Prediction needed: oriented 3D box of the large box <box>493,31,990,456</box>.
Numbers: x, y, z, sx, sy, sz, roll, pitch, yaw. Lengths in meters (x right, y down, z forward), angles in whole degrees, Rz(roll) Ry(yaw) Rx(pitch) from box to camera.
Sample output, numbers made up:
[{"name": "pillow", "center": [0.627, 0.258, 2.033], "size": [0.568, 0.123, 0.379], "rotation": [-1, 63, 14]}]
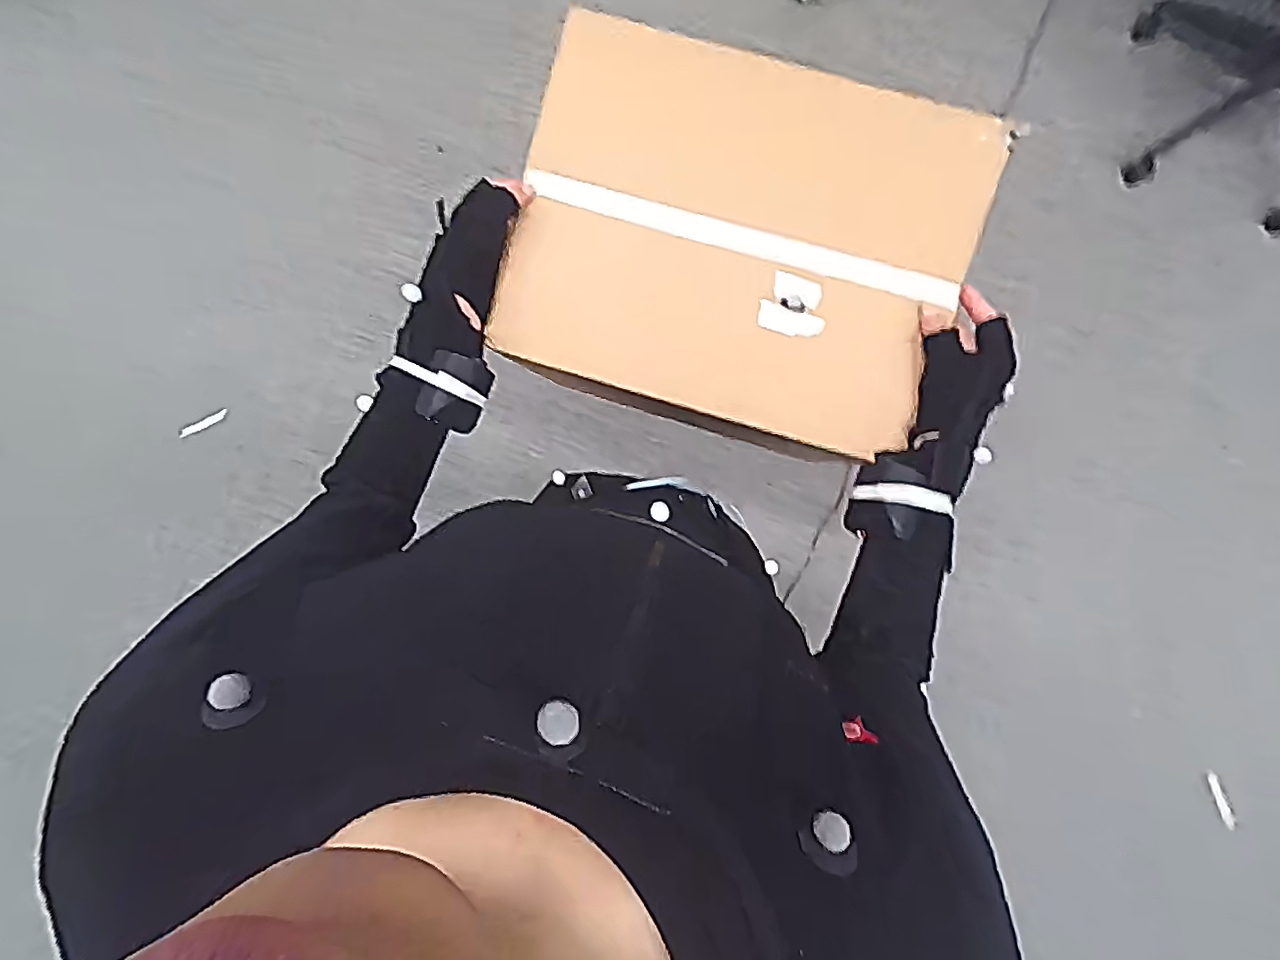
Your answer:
[{"name": "large box", "center": [0.094, -0.230, 0.654], "size": [0.408, 0.320, 0.320], "rotation": [17, 95, 2]}]
